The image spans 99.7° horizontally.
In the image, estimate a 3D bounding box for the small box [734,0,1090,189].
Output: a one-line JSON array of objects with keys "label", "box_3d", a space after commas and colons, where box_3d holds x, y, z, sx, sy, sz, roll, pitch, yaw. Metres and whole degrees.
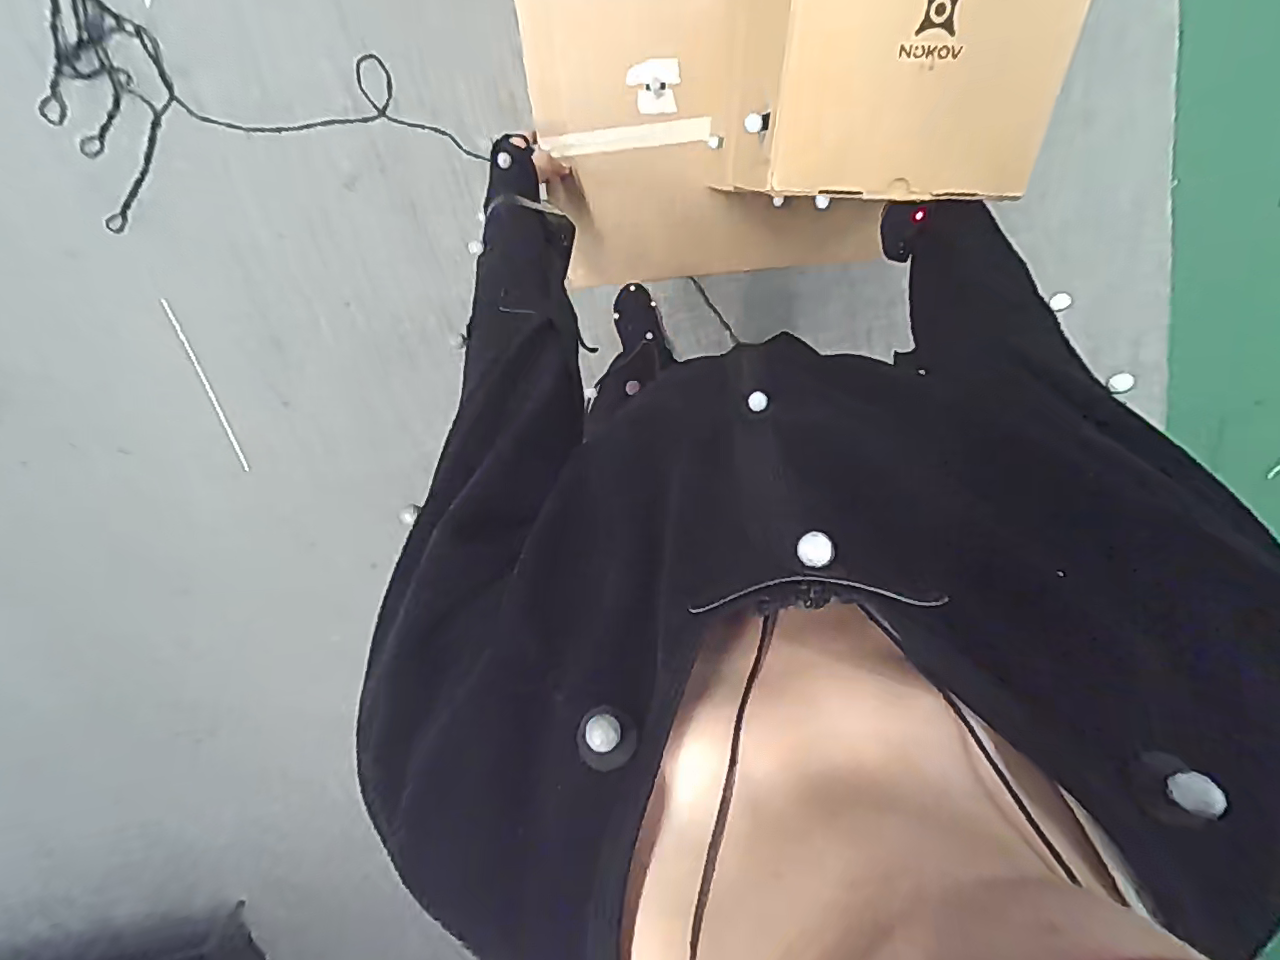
[{"label": "small box", "box_3d": [0.163, -0.301, 0.366, 0.168, 0.176, 0.179, 1, 121, -1]}]
